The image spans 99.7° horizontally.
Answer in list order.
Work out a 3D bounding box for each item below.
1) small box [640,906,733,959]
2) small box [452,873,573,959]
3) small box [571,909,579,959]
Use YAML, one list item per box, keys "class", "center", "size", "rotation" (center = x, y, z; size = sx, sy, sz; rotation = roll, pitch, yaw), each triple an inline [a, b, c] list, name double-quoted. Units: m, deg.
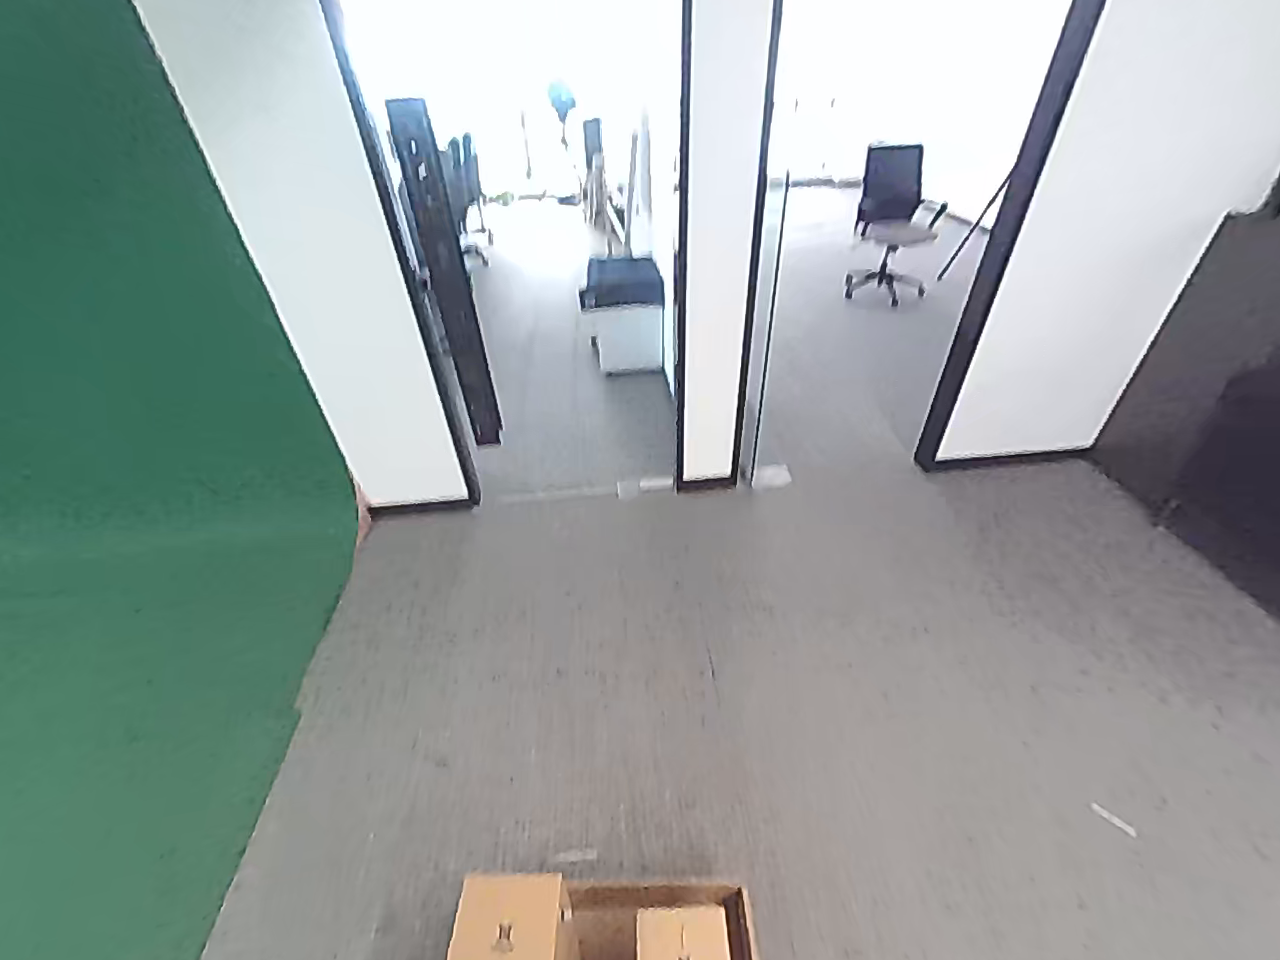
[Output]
- class: "small box"
  center: [0.088, 0.907, 0.980]
  size: [0.168, 0.176, 0.179]
  rotation: [-3, 36, 2]
- class: "small box"
  center: [-0.205, 0.783, 0.894]
  size: [0.168, 0.176, 0.179]
  rotation: [-1, 37, 1]
- class: "small box"
  center: [-0.204, 0.917, 0.989]
  size: [0.168, 0.176, 0.179]
  rotation: [-1, 37, 1]
